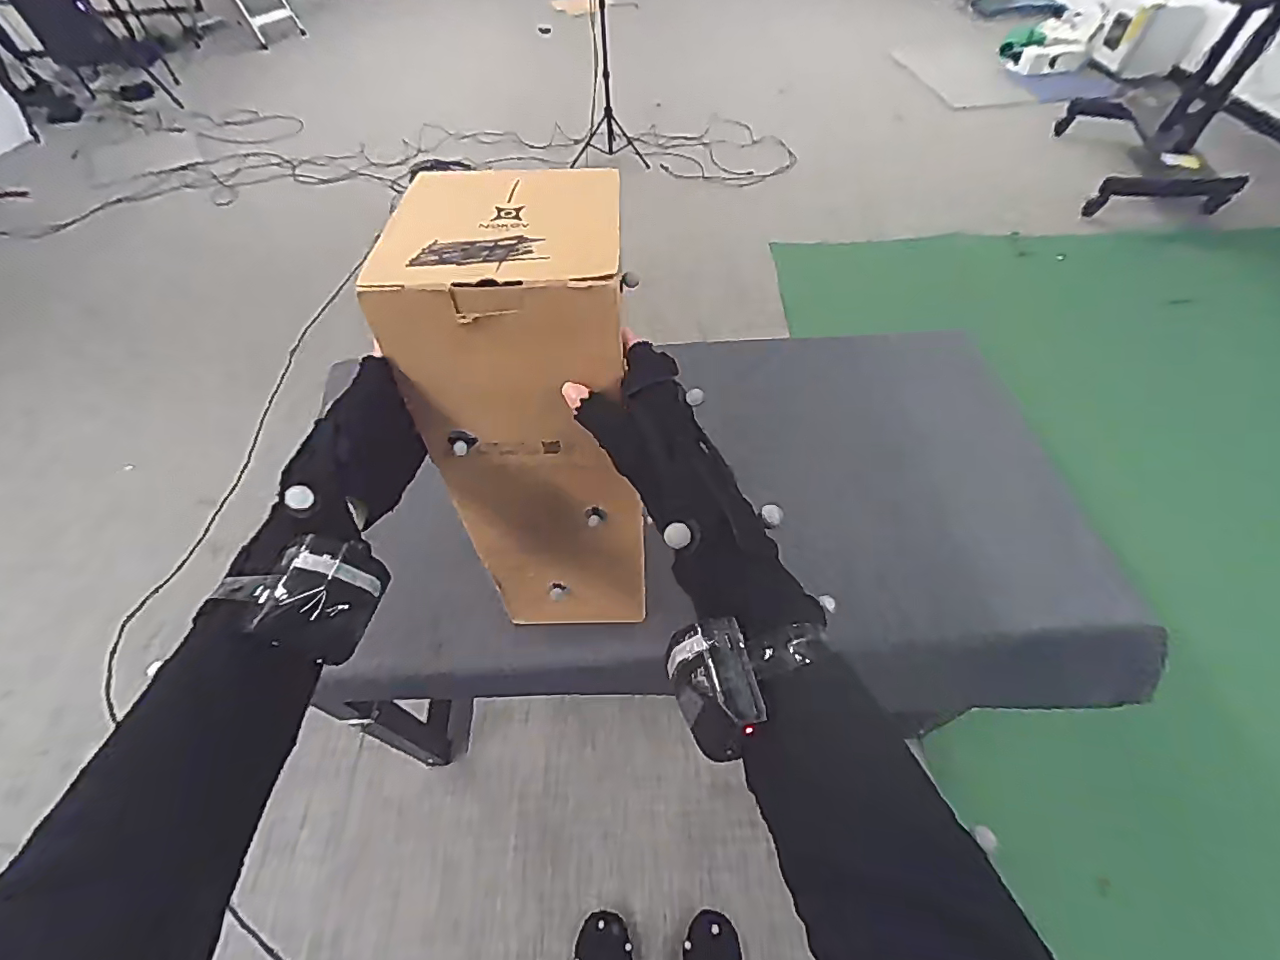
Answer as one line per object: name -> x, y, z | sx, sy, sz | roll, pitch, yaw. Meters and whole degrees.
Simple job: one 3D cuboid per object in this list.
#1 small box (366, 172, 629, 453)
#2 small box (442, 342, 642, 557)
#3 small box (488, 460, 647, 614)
small box -> -0.094, -0.136, 0.458 | 0.168, 0.176, 0.179 | -1, 50, 0
small box -> -0.086, -0.029, 0.583 | 0.179, 0.176, 0.168 | -2, 51, 1
small box -> -0.082, 0.068, 0.713 | 0.179, 0.176, 0.168 | -1, 52, 1
